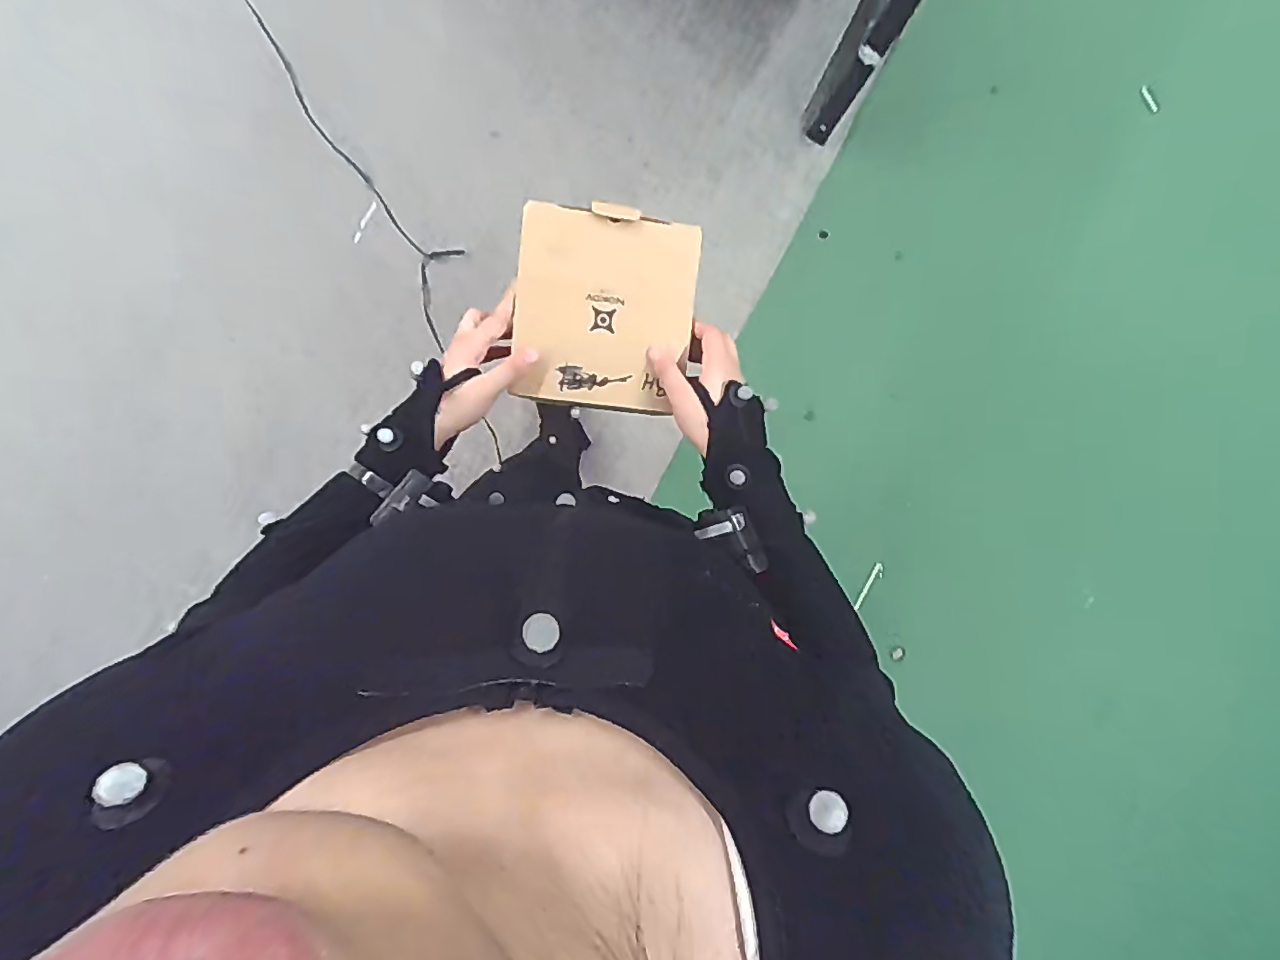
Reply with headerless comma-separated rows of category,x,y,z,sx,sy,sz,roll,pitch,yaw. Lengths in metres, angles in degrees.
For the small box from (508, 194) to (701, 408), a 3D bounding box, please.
small box,-0.040,-0.173,0.579,0.168,0.176,0.179,6,97,-5
